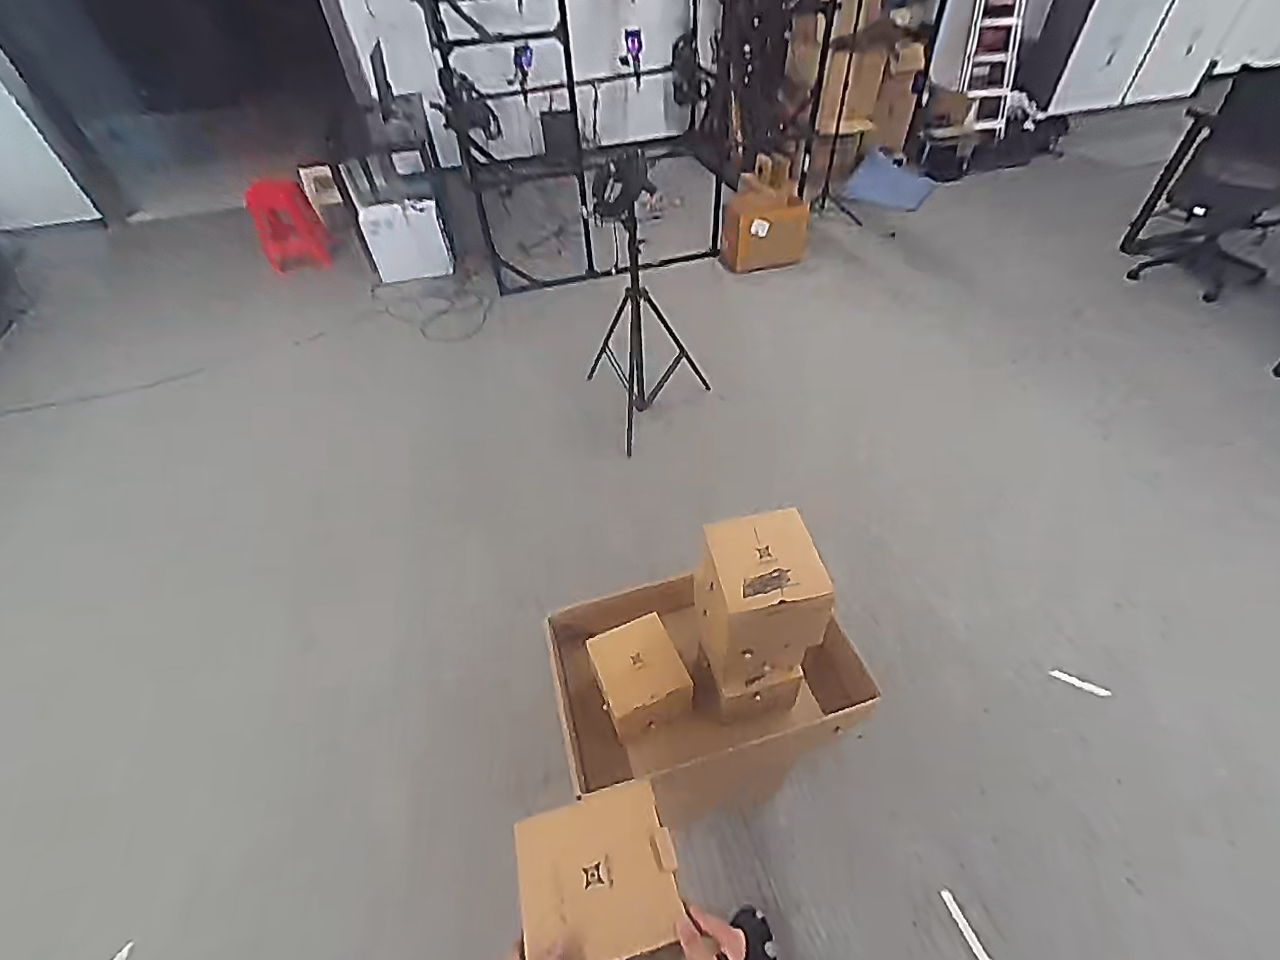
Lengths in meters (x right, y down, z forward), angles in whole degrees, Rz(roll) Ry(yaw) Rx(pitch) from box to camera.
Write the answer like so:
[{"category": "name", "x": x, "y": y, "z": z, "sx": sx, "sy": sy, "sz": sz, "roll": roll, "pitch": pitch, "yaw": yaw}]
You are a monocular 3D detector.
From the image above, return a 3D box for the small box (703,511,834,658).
[{"category": "small box", "x": 0.207, "y": 0.182, "z": 0.912, "sx": 0.168, "sy": 0.176, "sz": 0.179, "roll": -10, "pitch": 46, "yaw": -2}]

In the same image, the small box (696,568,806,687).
[{"category": "small box", "x": 0.212, "y": 0.271, "z": 1.054, "sx": 0.168, "sy": 0.176, "sz": 0.179, "roll": -14, "pitch": 48, "yaw": -5}]

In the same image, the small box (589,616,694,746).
[{"category": "small box", "x": 0.000, "y": 0.427, "z": 1.148, "sx": 0.168, "sy": 0.176, "sz": 0.179, "roll": -20, "pitch": 49, "yaw": -15}]

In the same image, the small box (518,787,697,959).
[{"category": "small box", "x": -0.039, "y": 0.513, "z": 0.656, "sx": 0.179, "sy": 0.176, "sz": 0.168, "roll": -14, "pitch": 38, "yaw": -9}]
